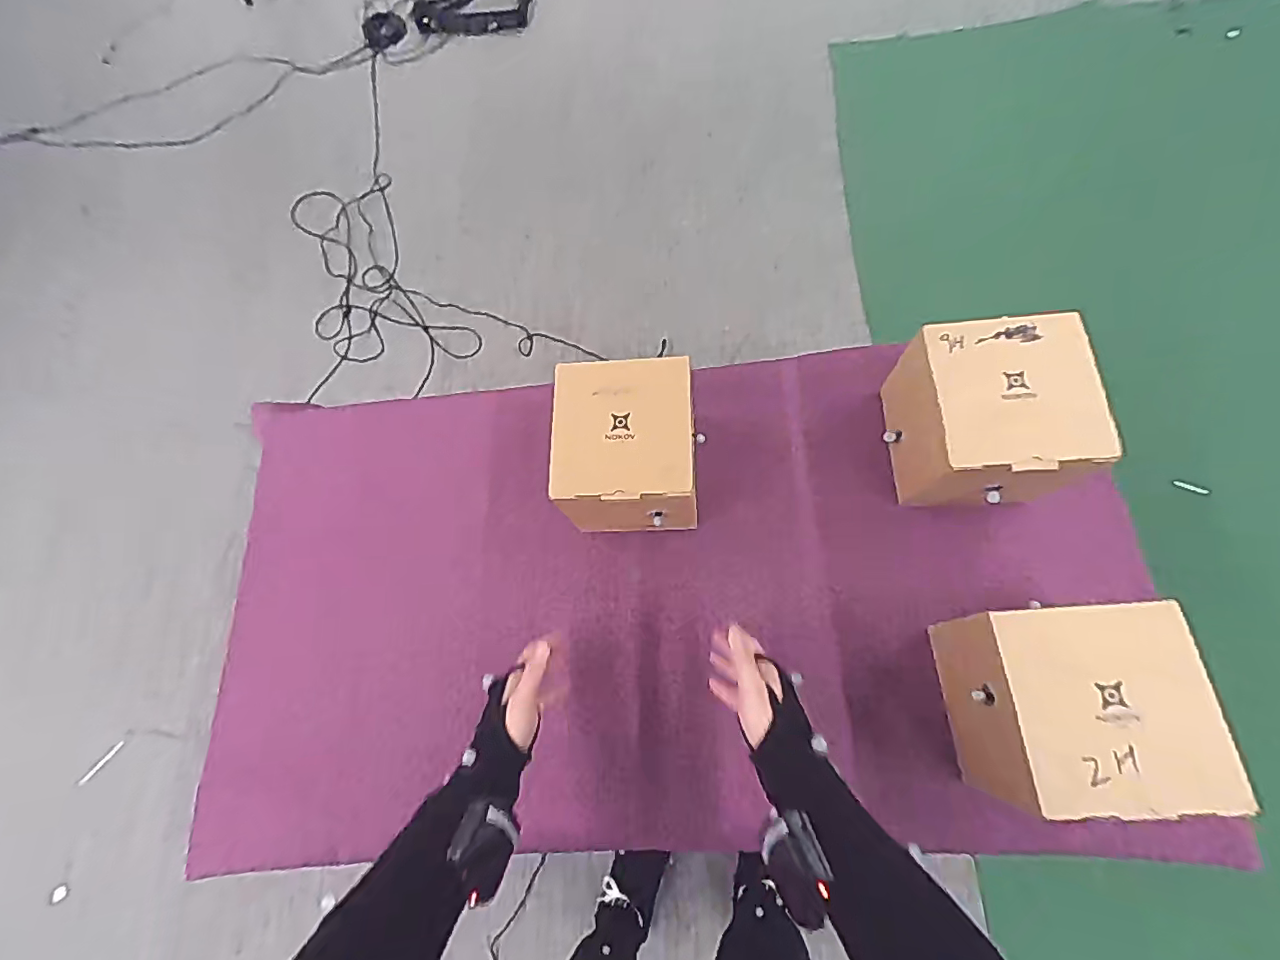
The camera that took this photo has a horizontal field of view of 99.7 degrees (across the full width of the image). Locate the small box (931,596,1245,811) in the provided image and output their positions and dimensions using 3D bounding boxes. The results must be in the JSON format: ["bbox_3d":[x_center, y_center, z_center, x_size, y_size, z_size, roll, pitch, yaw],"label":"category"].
[{"bbox_3d":[0.425,0.223,0.556,0.168,0.176,0.179,-5,70,7],"label":"small box"}]

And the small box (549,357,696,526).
[{"bbox_3d":[-0.012,-0.039,0.707,0.168,0.176,0.179,-1,71,6],"label":"small box"}]

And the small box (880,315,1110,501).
[{"bbox_3d":[0.410,-0.075,0.661,0.168,0.176,0.179,-3,73,7],"label":"small box"}]
